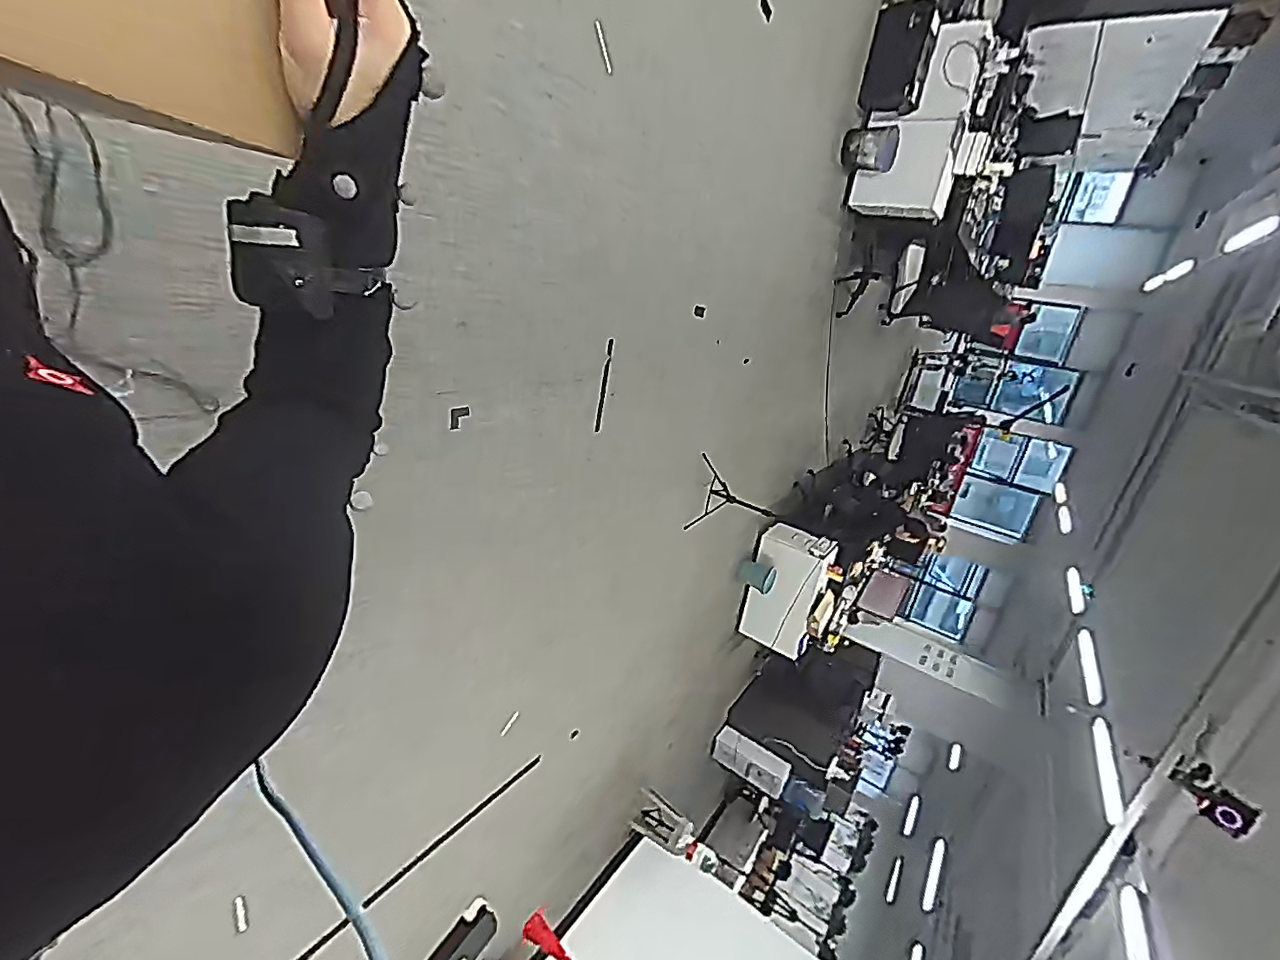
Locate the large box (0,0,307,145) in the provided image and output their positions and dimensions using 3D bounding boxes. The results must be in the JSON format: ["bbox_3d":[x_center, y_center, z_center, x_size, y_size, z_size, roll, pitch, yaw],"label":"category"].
[{"bbox_3d":[-0.386,-0.356,0.165,0.408,0.320,0.320,-17,128,-58],"label":"large box"}]
